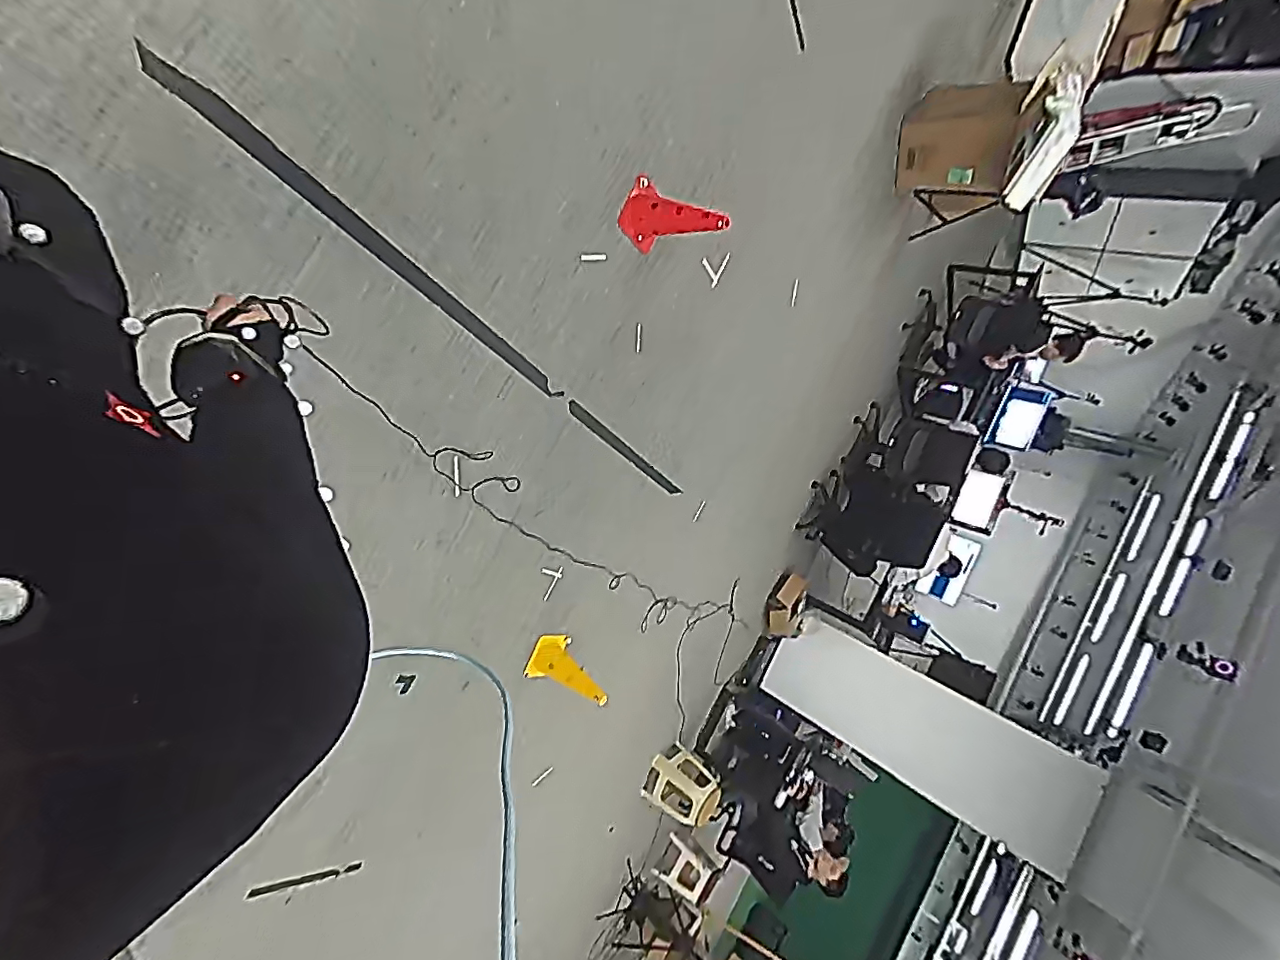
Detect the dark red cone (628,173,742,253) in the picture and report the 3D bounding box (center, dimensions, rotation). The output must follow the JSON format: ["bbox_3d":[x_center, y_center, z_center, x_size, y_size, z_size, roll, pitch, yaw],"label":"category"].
[{"bbox_3d":[0.163,-0.870,1.798,0.202,0.394,0.201,23,92,-56],"label":"dark red cone"}]
